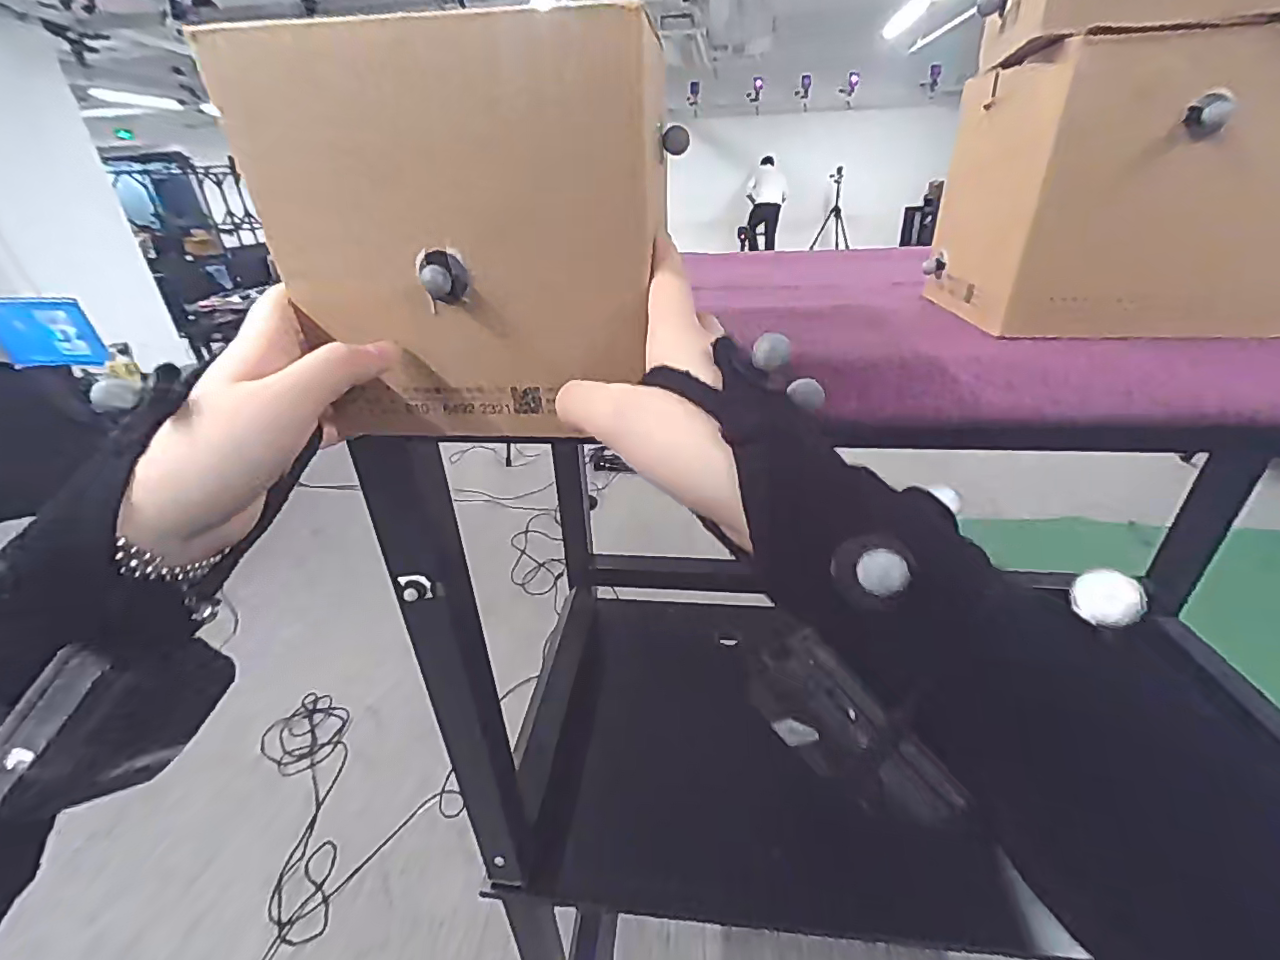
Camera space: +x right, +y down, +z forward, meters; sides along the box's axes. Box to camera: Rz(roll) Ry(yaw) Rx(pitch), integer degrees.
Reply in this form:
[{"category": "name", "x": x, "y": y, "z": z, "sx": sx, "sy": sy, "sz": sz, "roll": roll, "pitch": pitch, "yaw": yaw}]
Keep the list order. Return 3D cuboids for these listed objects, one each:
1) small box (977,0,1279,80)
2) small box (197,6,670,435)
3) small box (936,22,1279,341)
[{"category": "small box", "x": 0.326, "y": -0.344, "z": 0.310, "sx": 0.179, "sy": 0.176, "sz": 0.168, "roll": 6, "pitch": 29, "yaw": 17}, {"category": "small box", "x": -0.069, "y": -0.135, "z": 0.299, "sx": 0.168, "sy": 0.176, "sz": 0.179, "roll": 2, "pitch": 34, "yaw": 5}, {"category": "small box", "x": 0.336, "y": -0.201, "z": 0.388, "sx": 0.179, "sy": 0.176, "sz": 0.168, "roll": 3, "pitch": 29, "yaw": 7}]
